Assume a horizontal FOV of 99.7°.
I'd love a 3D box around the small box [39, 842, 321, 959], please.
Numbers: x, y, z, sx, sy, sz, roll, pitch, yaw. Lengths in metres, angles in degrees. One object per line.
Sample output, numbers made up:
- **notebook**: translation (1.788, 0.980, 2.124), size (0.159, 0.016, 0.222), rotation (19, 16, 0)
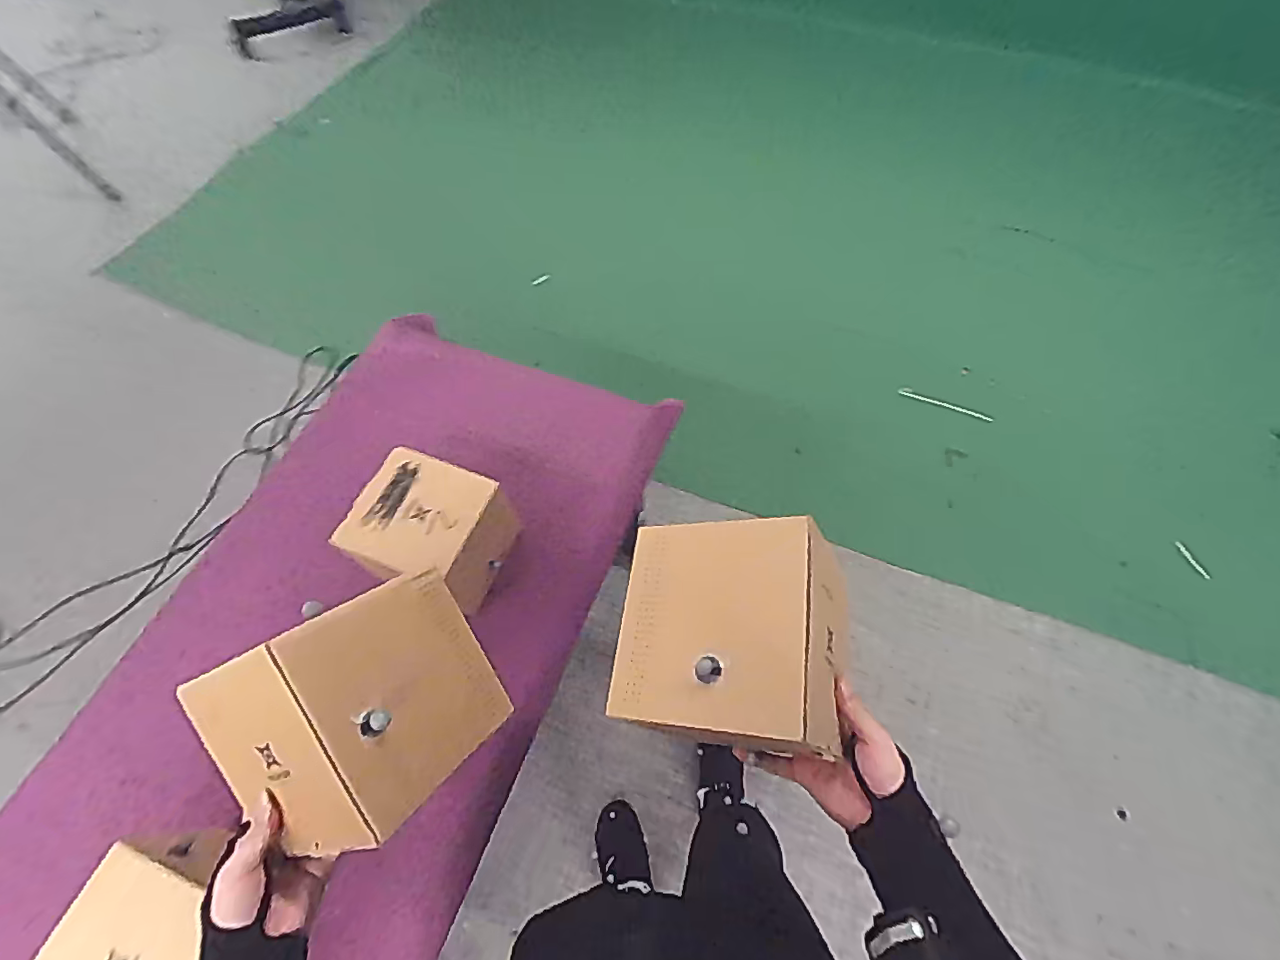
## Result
- **small box**: translation (-0.508, 0.526, 0.597), size (0.179, 0.176, 0.168), rotation (18, 63, 11)
